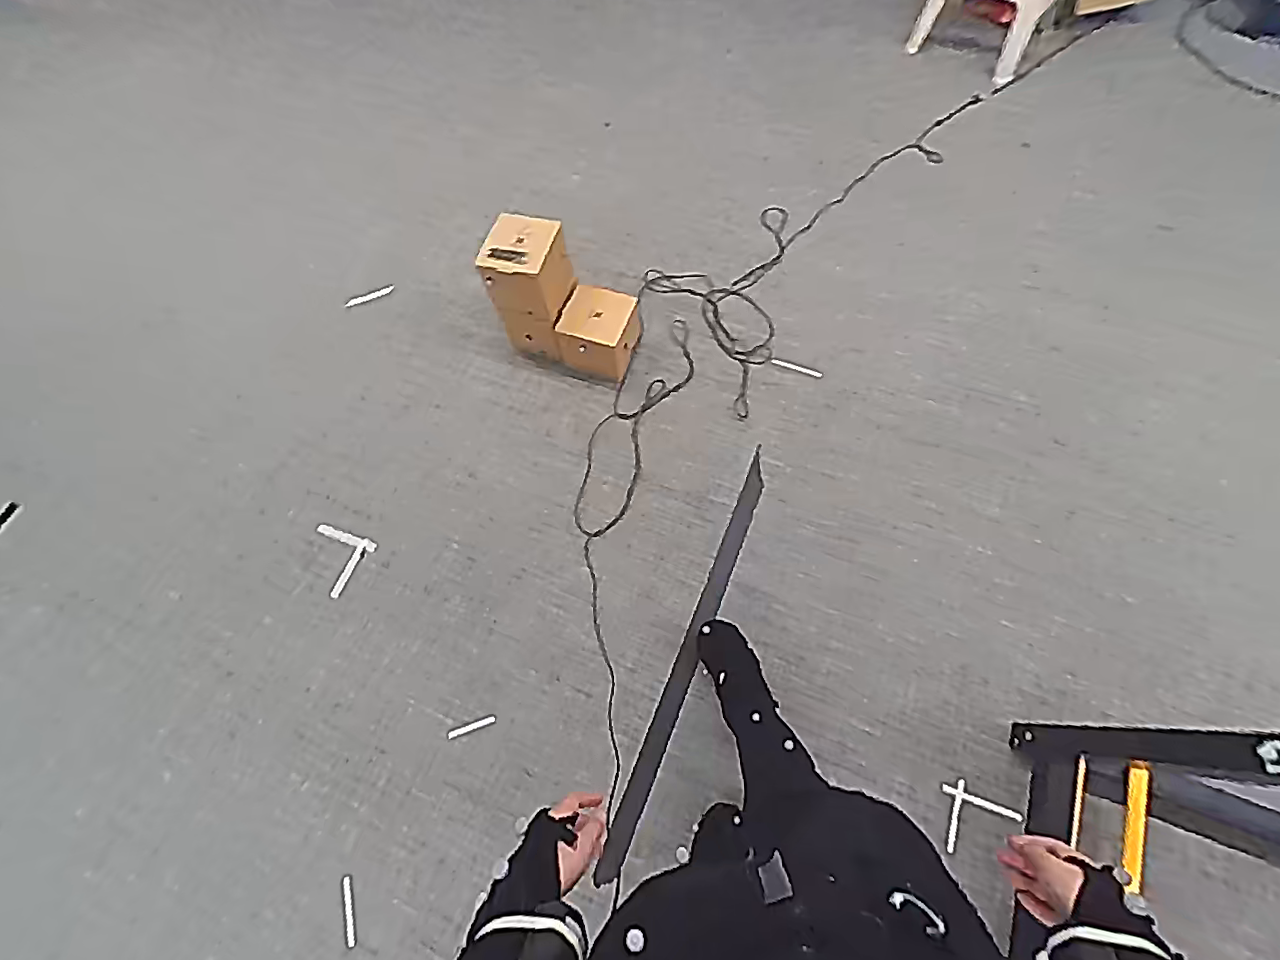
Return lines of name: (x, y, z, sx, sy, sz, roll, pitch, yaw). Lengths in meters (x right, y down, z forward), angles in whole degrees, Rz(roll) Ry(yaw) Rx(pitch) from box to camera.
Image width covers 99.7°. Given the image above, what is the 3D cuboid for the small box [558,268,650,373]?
small box: (-0.092, -0.416, 1.418, 0.179, 0.176, 0.168, -43, 85, -2)
